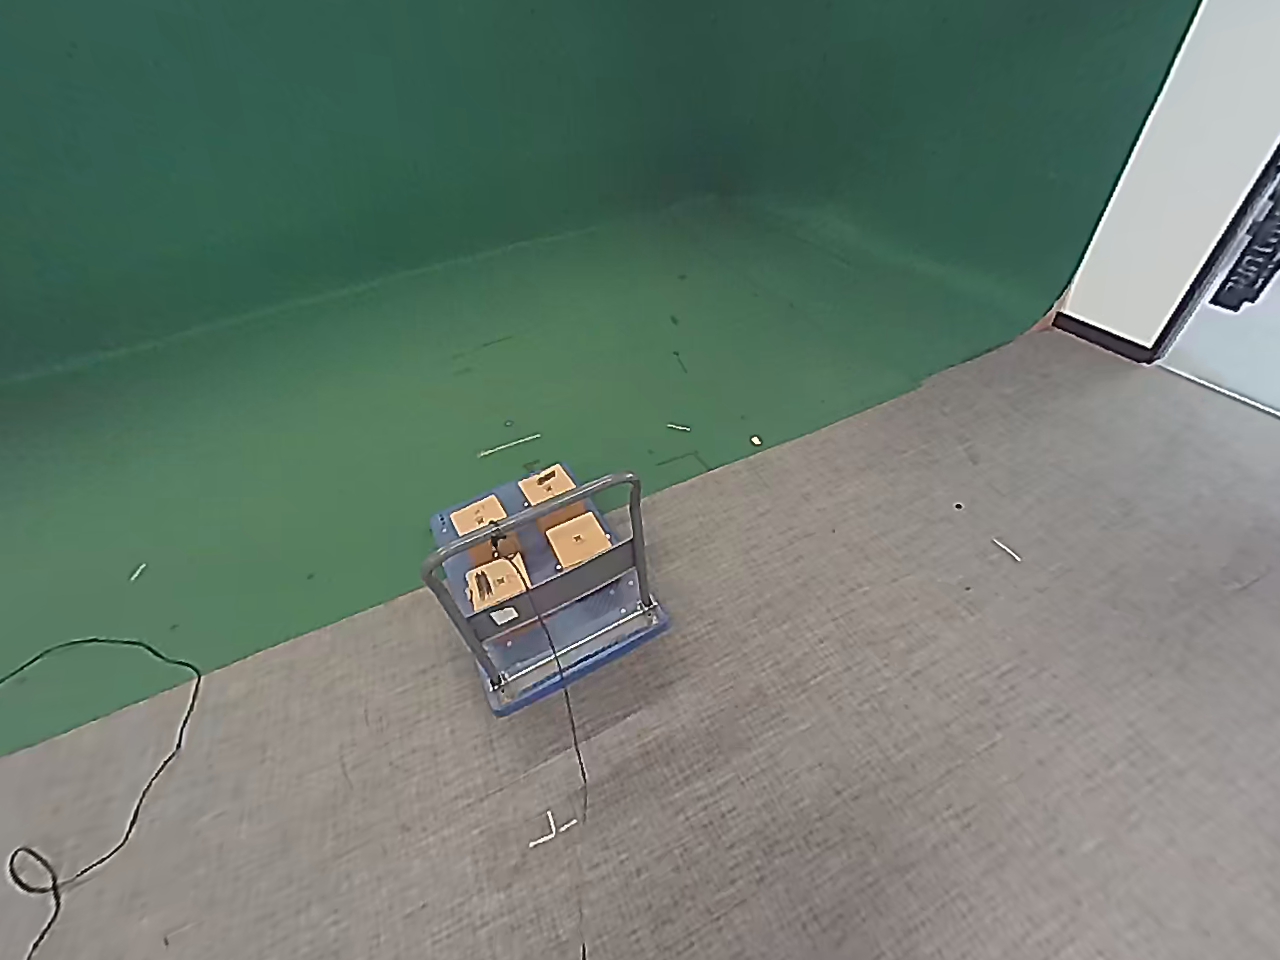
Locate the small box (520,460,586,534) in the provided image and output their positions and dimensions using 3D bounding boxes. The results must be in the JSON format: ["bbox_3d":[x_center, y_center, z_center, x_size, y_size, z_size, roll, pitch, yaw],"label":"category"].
[{"bbox_3d":[-0.308,0.065,1.939,0.168,0.176,0.179,-27,49,-17],"label":"small box"}]

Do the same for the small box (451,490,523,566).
[{"bbox_3d":[-0.522,0.172,1.861,0.168,0.176,0.179,-26,48,-18],"label":"small box"}]

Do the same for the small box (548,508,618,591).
[{"bbox_3d":[-0.185,0.228,1.762,0.168,0.176,0.179,-22,48,-14],"label":"small box"}]
